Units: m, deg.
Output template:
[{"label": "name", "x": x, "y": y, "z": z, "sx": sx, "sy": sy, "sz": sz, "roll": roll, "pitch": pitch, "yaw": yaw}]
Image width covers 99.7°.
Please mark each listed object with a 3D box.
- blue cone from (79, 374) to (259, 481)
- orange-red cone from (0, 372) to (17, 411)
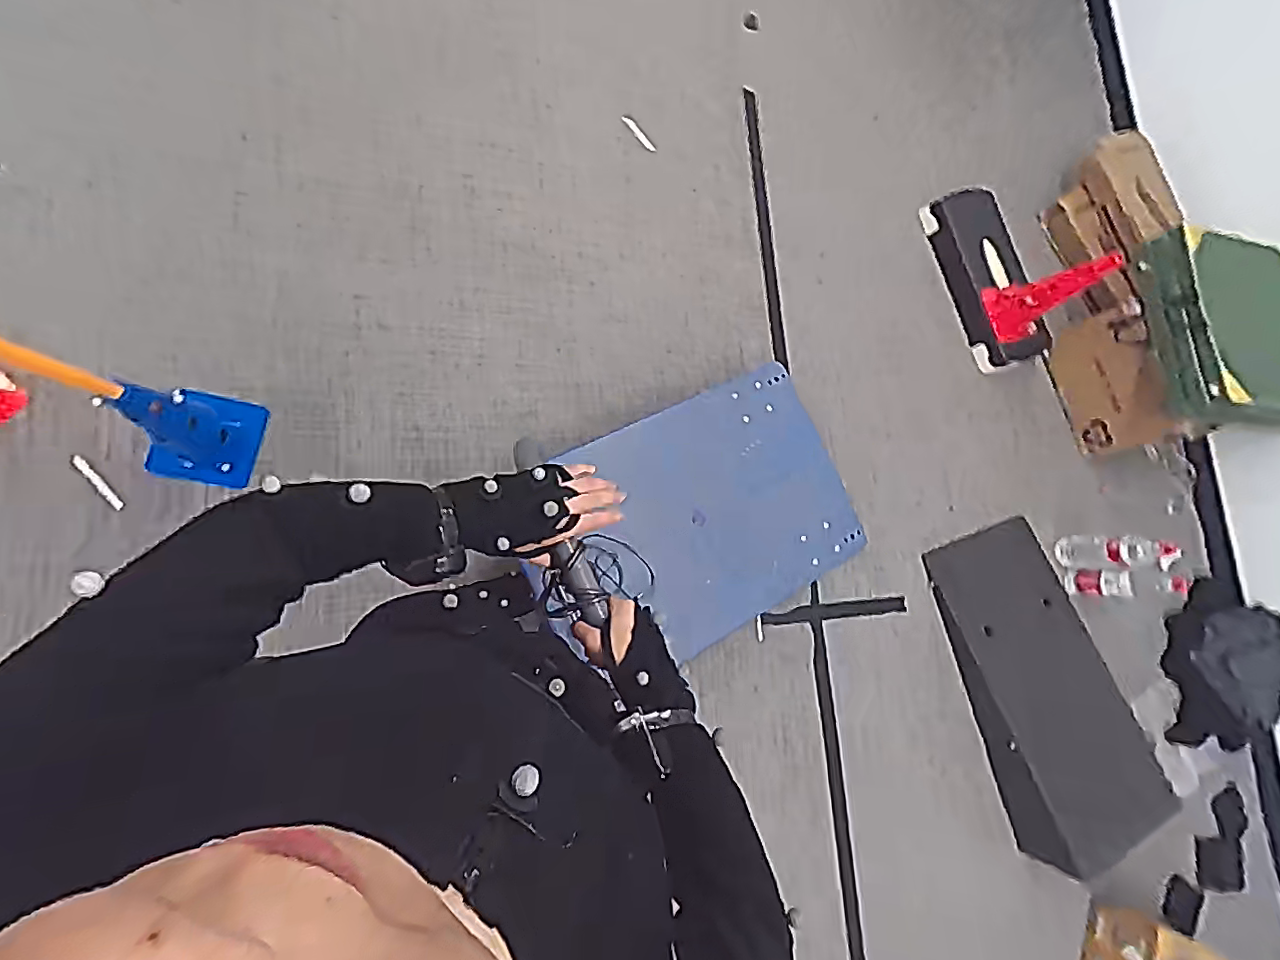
[{"label": "blue cone", "x": -0.917, "y": -0.124, "z": 1.040, "sx": 0.192, "sy": 0.380, "sz": 0.193, "roll": 14, "pitch": 77, "yaw": -14}, {"label": "orange-red cone", "x": -1.333, "y": -0.197, "z": 0.902, "sx": 0.199, "sy": 0.360, "sz": 0.198, "roll": 45, "pitch": 72, "yaw": -8}]
